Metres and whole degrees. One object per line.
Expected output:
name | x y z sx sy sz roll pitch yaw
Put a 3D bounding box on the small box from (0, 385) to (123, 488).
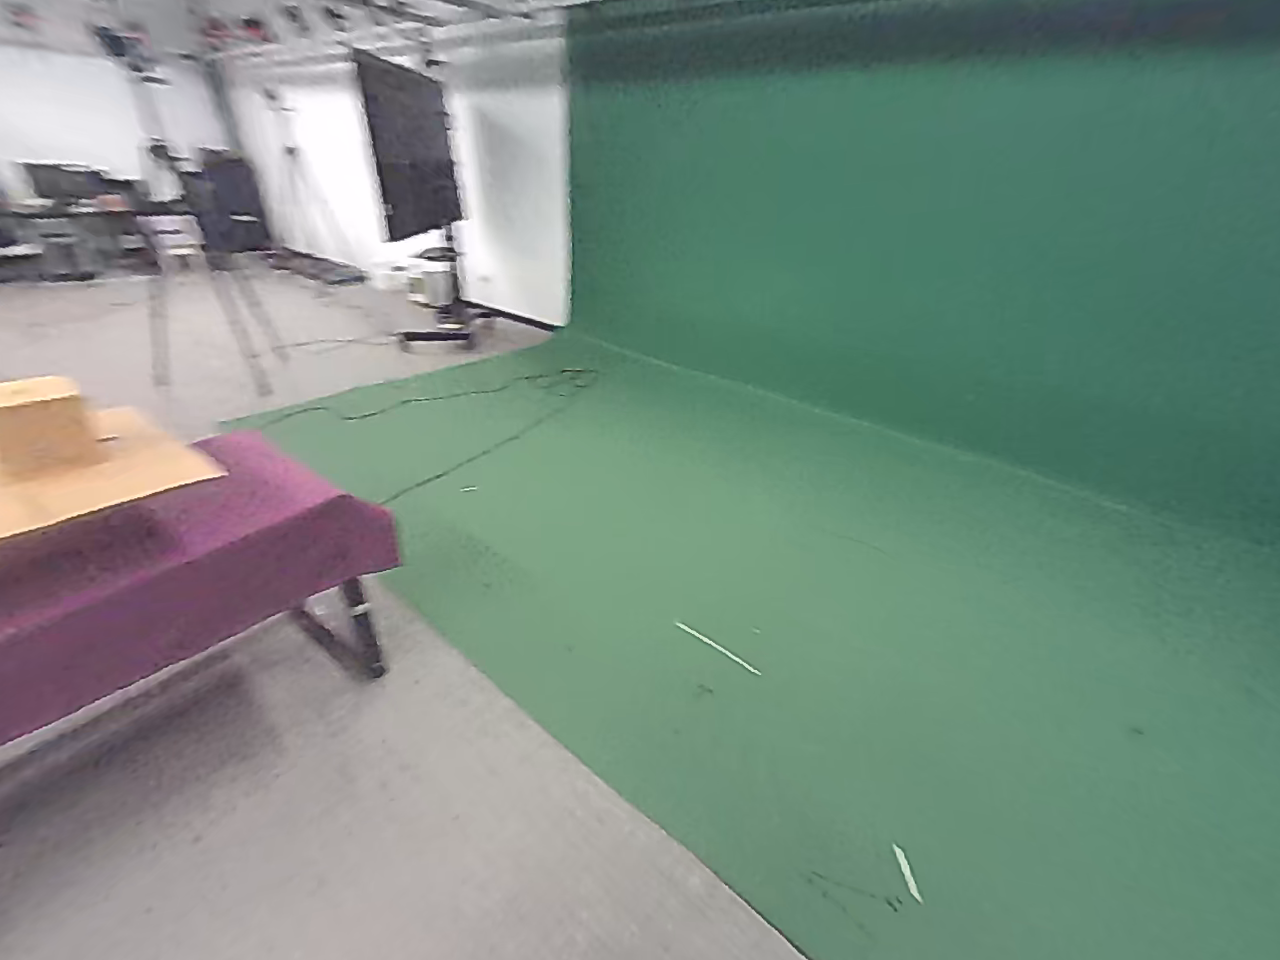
small box | -1.325 -0.101 1.223 0.179 0.176 0.168 24 34 31
